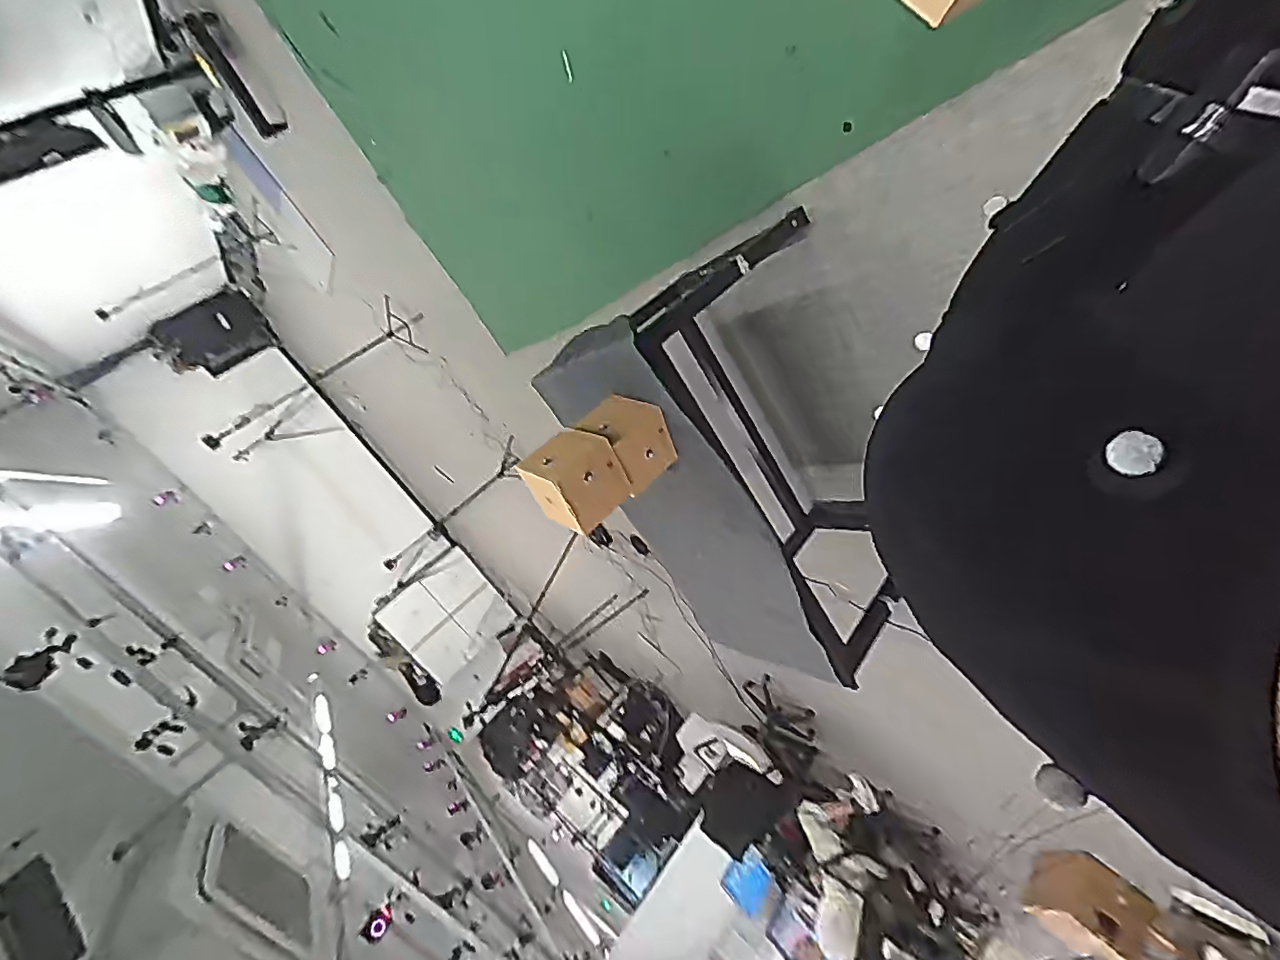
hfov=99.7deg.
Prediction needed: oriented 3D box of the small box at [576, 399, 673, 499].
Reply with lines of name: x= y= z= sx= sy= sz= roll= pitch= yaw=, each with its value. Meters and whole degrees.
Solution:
small box: x=-0.036 y=-0.084 z=1.358 sx=0.179 sy=0.176 sz=0.168 roll=22 pitch=146 yaw=44

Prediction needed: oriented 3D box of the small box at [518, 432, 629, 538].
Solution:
small box: x=-0.147 y=0.004 z=1.275 sx=0.179 sy=0.176 sz=0.168 roll=18 pitch=142 yaw=48

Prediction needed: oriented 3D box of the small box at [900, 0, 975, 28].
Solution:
small box: x=0.408 y=-0.736 z=0.687 sx=0.179 sy=0.176 sz=0.168 roll=44 pitch=155 yaw=3
